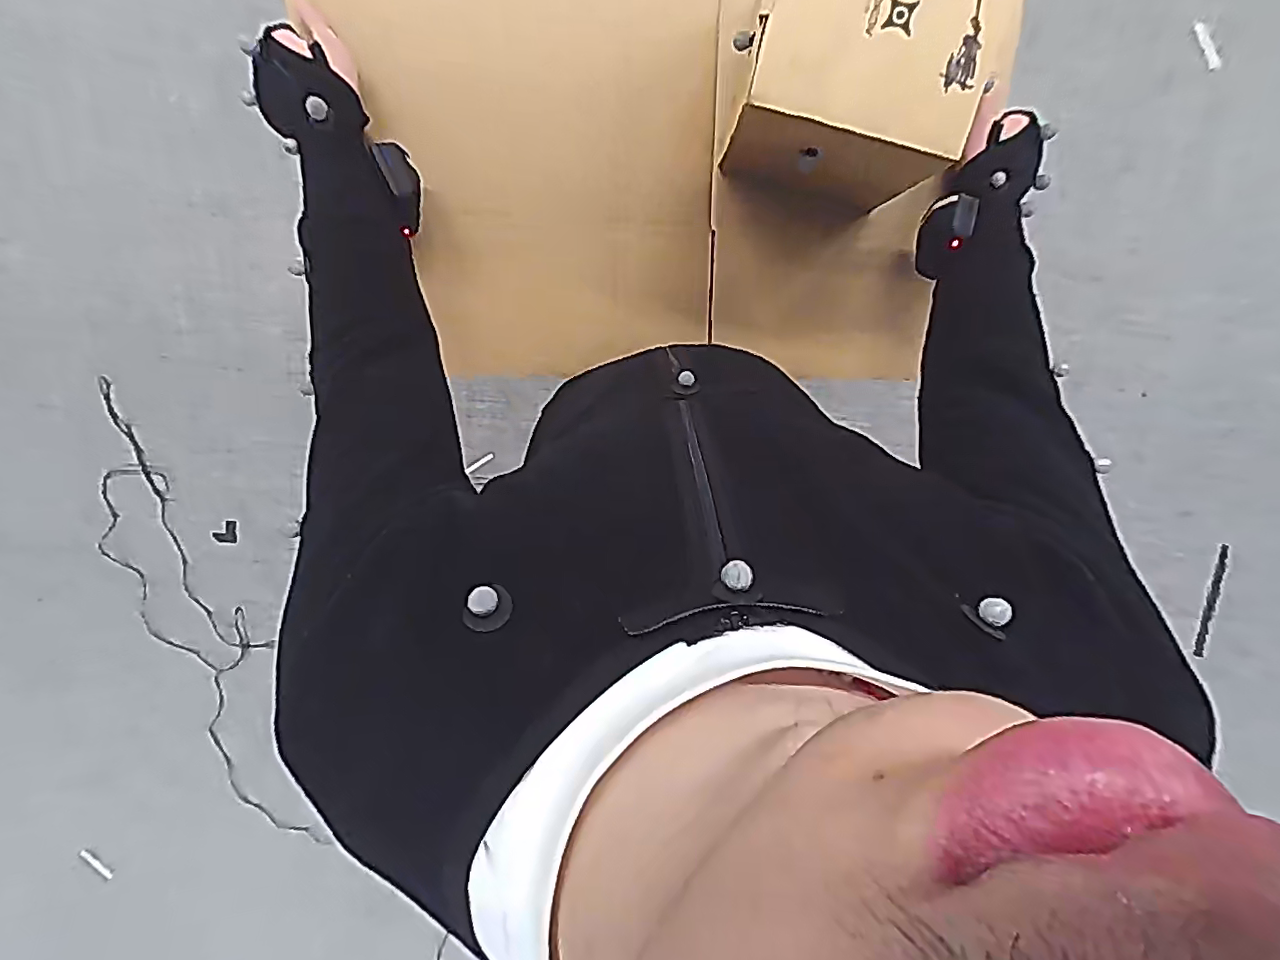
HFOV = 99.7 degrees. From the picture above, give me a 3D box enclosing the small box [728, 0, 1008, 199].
[{"bbox_3d":[0.187,-0.373,0.482,0.179,0.176,0.168,14,105,-2],"label":"small box"}]
